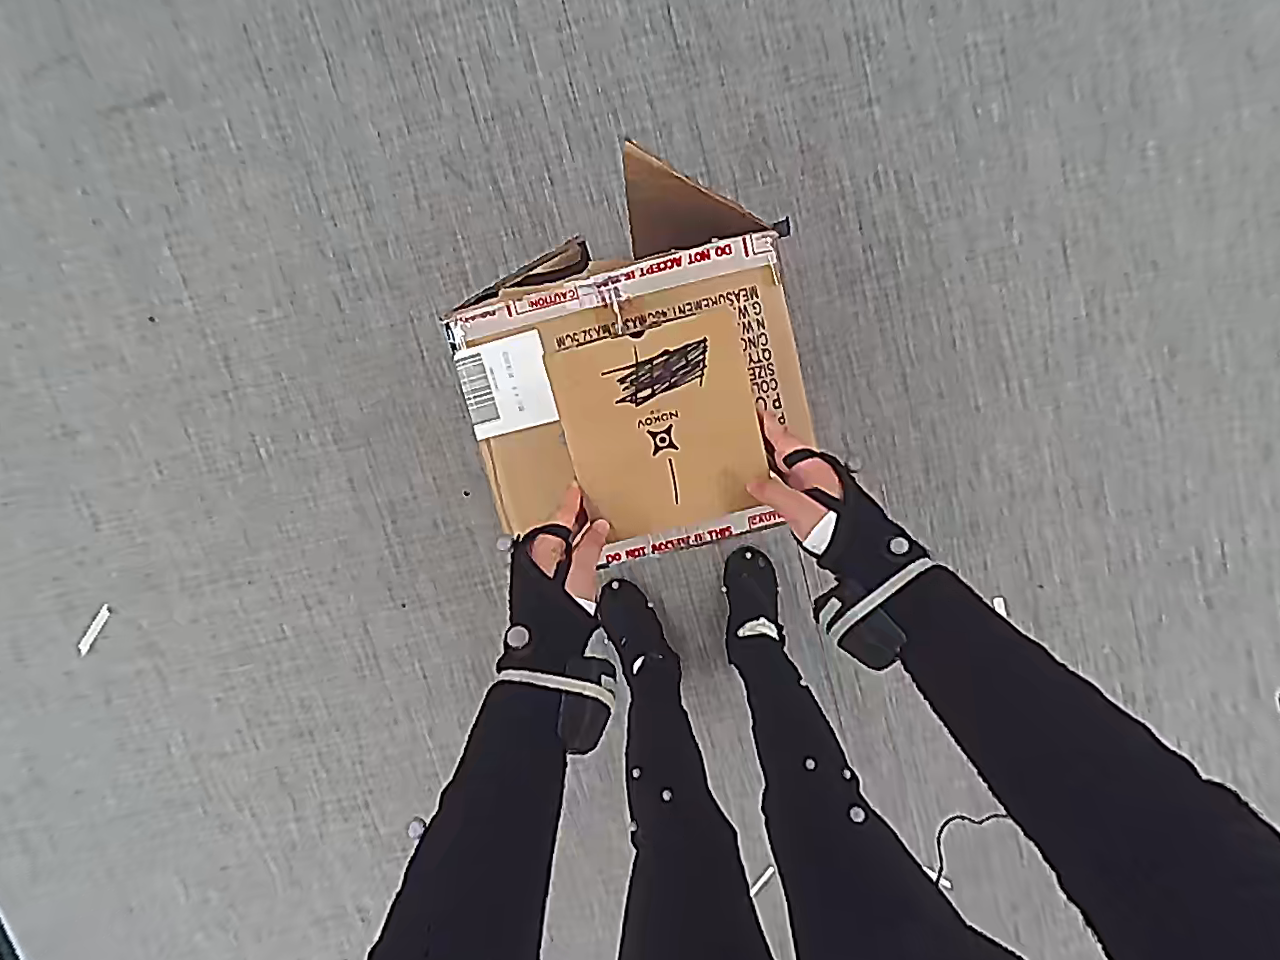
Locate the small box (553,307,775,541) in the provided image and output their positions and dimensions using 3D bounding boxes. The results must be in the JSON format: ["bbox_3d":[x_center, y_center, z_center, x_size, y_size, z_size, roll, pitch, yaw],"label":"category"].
[{"bbox_3d":[0.023,-0.058,0.550,0.168,0.176,0.179,-14,100,4],"label":"small box"}]
